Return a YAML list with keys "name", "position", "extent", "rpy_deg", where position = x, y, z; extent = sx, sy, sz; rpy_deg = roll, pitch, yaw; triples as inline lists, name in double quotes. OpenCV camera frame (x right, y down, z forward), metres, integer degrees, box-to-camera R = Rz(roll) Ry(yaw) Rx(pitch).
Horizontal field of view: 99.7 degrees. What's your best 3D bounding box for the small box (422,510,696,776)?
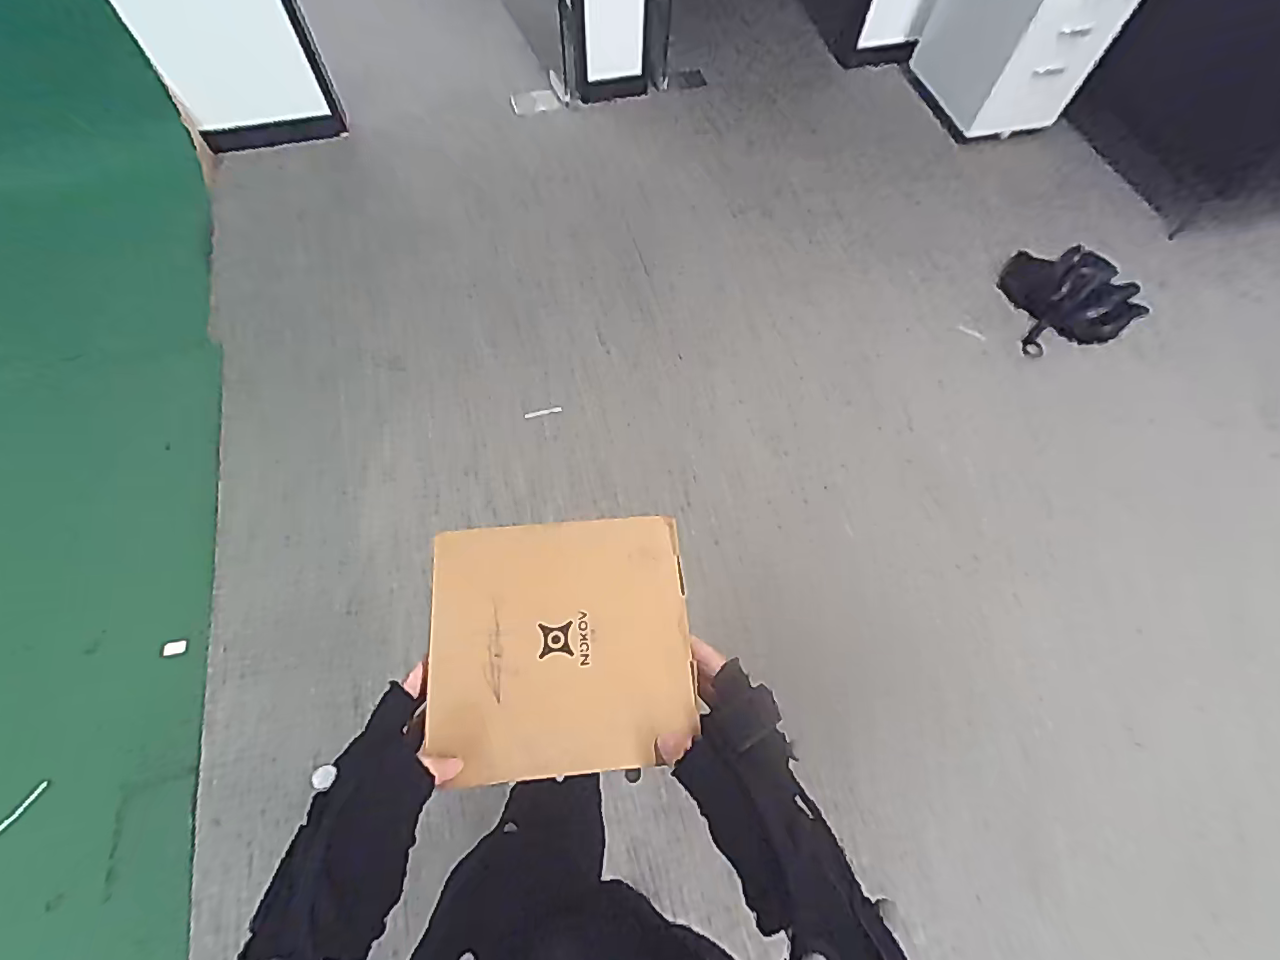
- name: "small box"
  position: [-0.061, 0.134, 0.446]
  extent: [0.179, 0.176, 0.168]
  rpy_deg: [-5, 67, -4]
